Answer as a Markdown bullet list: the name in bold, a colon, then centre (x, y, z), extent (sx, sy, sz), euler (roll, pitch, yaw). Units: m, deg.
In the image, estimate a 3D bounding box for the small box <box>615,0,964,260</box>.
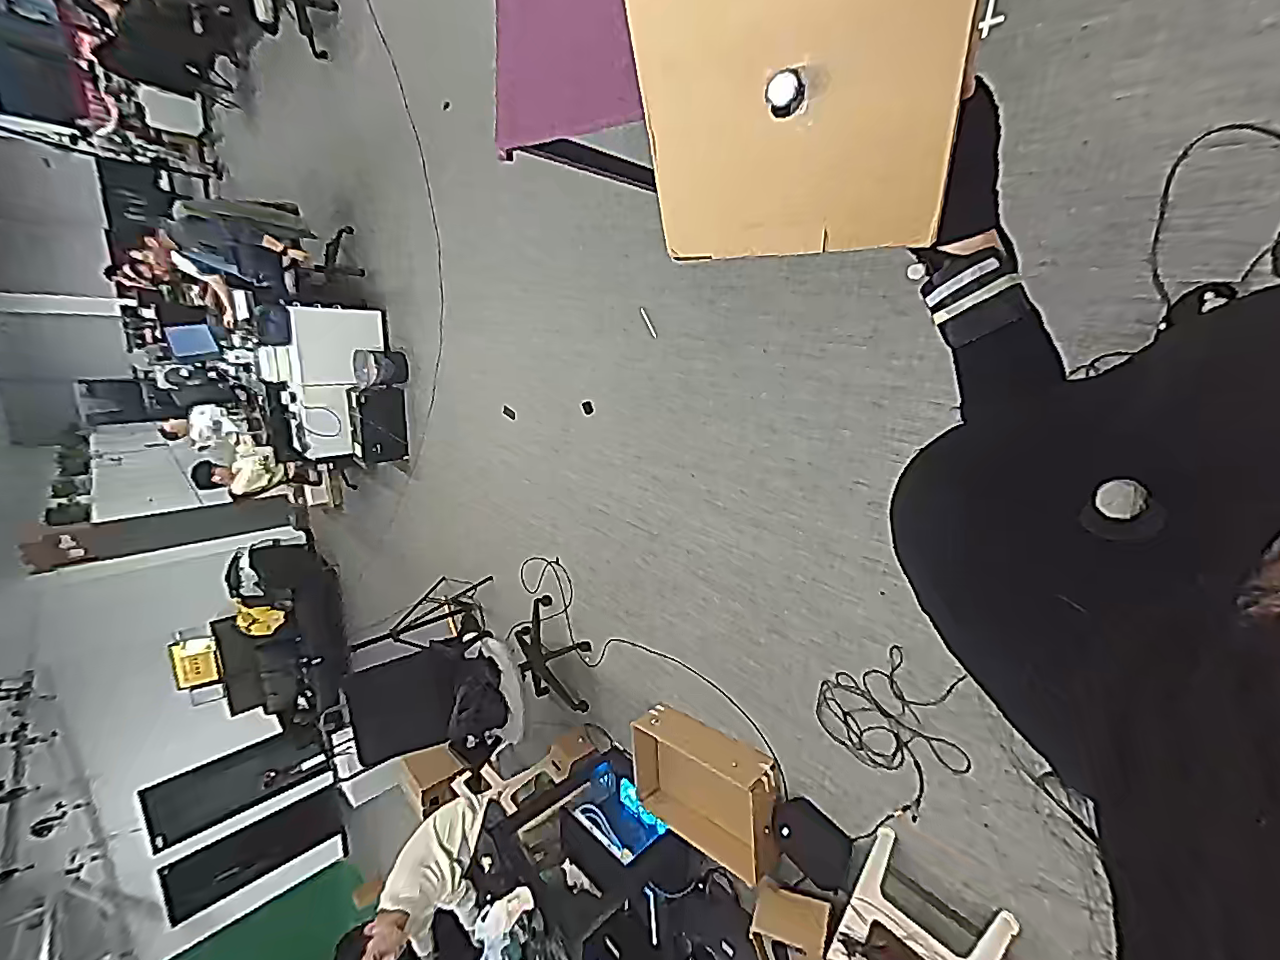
- **small box**: centre (0.097, -0.256, 0.325), extent (0.168, 0.179, 0.176), euler (8, 139, 24)
